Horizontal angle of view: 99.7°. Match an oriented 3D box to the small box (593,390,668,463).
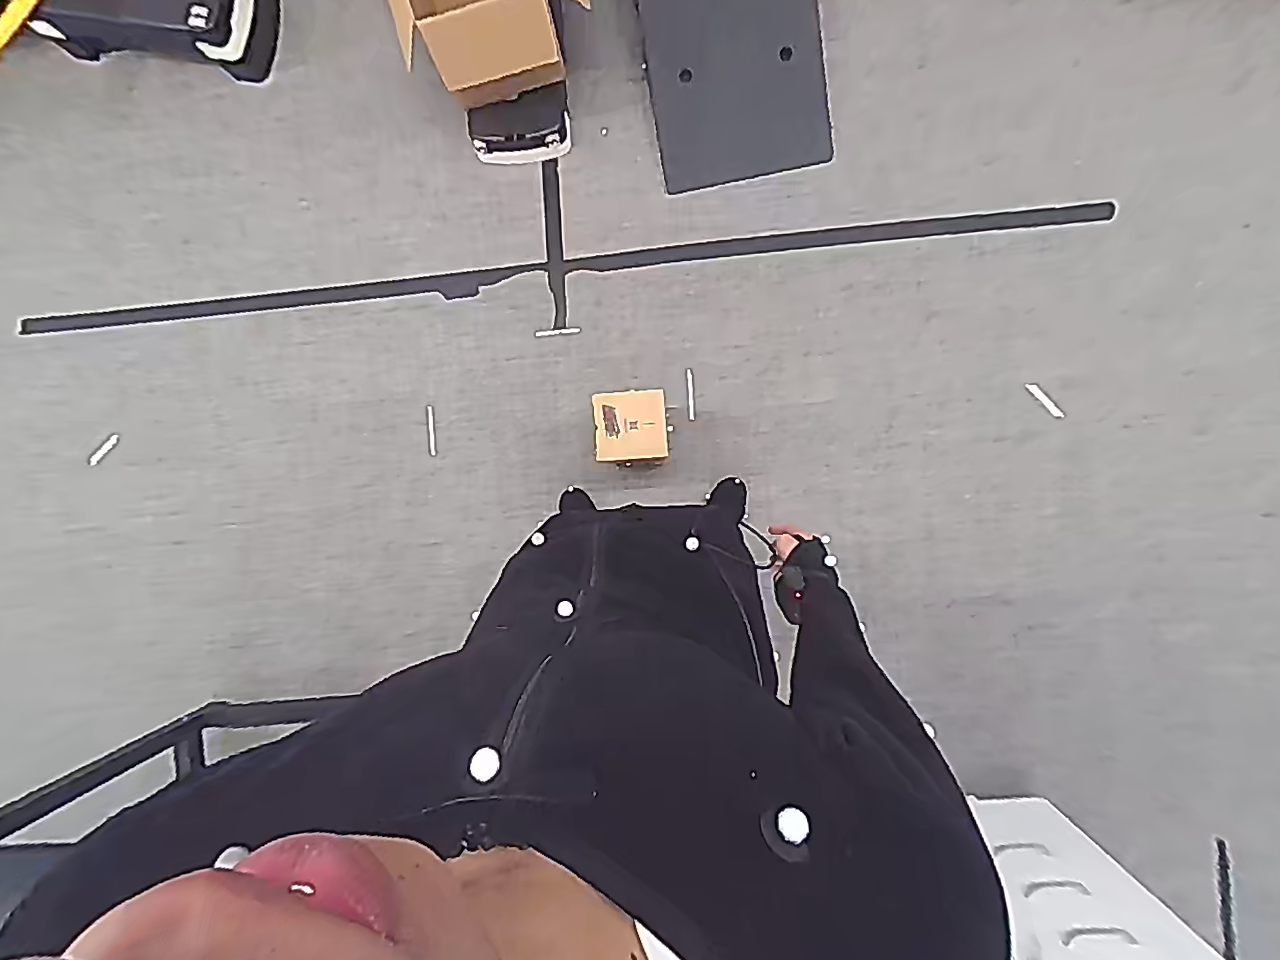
[{"bbox_3d":[-0.019,-0.131,1.371,0.179,0.176,0.168,-4,91,2],"label":"small box"}]
